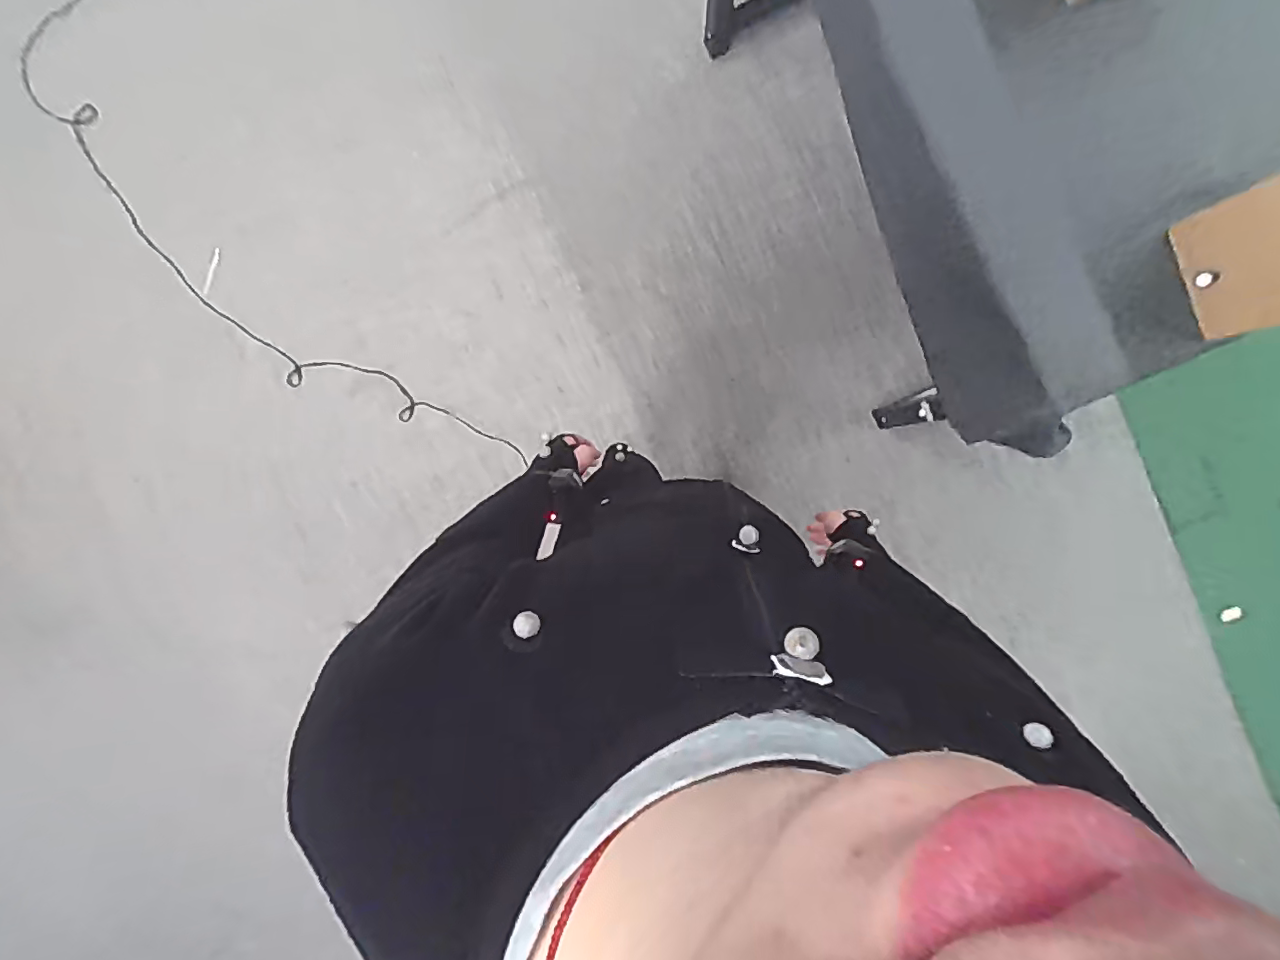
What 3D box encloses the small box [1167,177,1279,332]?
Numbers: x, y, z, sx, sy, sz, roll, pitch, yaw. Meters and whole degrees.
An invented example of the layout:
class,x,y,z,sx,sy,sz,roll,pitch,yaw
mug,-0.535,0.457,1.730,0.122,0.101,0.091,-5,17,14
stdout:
class,x,y,z,sx,sy,sz,roll,pitch,yaw
small box,0.853,-0.304,0.697,0.168,0.176,0.179,-20,93,4
